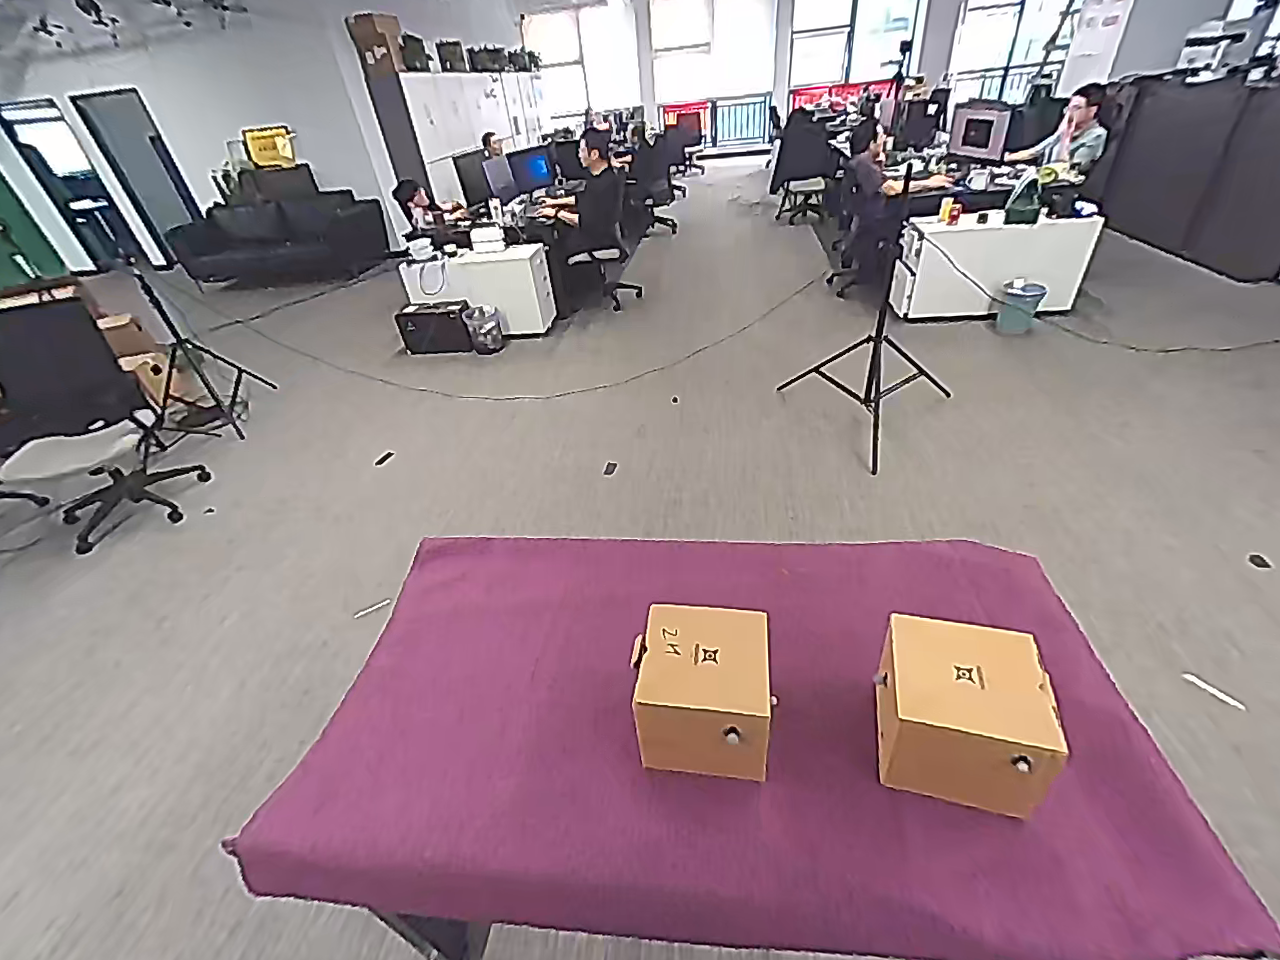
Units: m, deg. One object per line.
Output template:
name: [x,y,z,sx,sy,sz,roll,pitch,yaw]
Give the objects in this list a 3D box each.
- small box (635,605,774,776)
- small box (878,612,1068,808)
small box: [0.098,0.305,0.787,0.179,0.176,0.168,1,36,11]
small box: [0.424,0.307,0.727,0.179,0.176,0.168,5,38,17]
